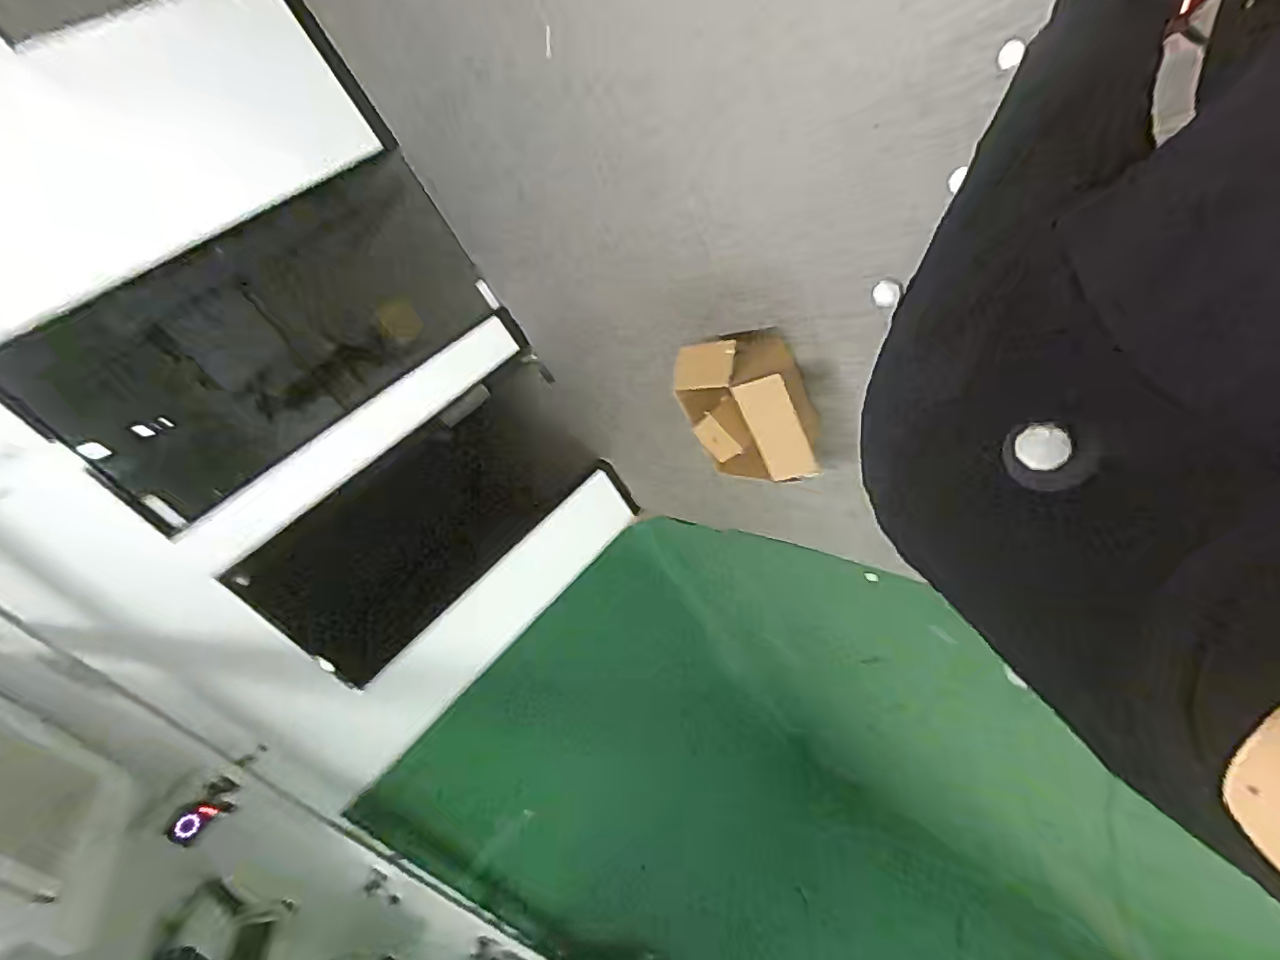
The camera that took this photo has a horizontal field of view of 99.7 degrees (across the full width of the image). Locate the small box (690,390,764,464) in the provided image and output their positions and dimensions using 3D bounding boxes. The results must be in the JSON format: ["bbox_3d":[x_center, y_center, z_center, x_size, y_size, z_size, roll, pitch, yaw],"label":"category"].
[{"bbox_3d":[0.314,-0.189,1.938,0.168,0.176,0.179,46,158,-1],"label":"small box"}]
